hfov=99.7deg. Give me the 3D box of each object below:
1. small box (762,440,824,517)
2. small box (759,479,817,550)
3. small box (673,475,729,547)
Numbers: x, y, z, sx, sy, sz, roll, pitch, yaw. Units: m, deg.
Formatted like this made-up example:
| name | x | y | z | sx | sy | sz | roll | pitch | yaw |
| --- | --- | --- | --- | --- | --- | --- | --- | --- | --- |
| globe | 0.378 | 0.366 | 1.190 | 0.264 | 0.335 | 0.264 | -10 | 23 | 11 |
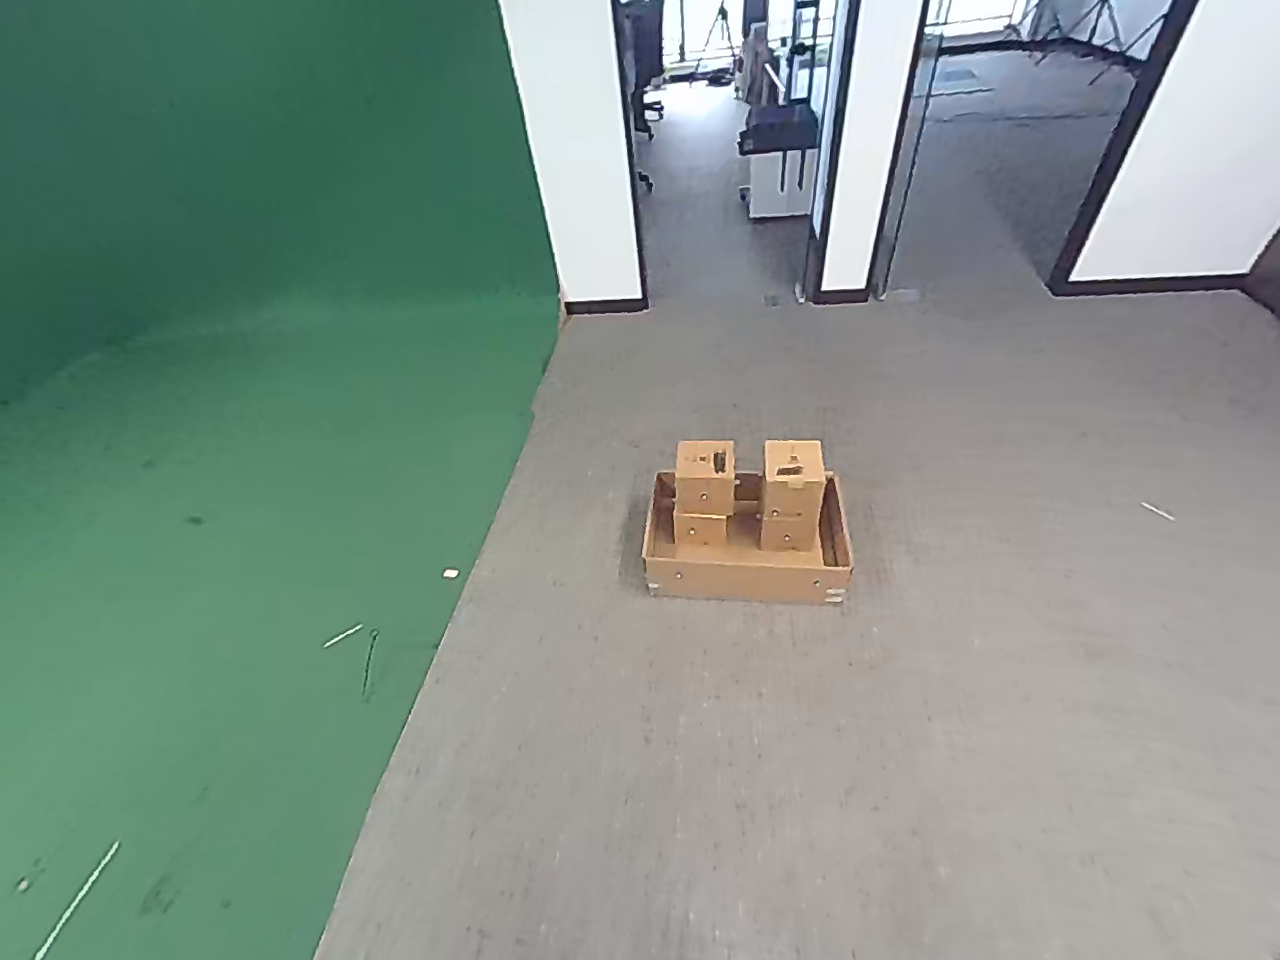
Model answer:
| name | x | y | z | sx | sy | sz | roll | pitch | yaw |
| --- | --- | --- | --- | --- | --- | --- | --- | --- | --- |
| small box | 0.461 | -0.004 | 1.647 | 0.168 | 0.176 | 0.179 | 1 | 46 | 10 |
| small box | 0.478 | 0.112 | 1.763 | 0.168 | 0.176 | 0.179 | 1 | 46 | 9 |
| small box | 0.208 | 0.107 | 1.808 | 0.168 | 0.176 | 0.179 | 4 | 46 | 11 |
